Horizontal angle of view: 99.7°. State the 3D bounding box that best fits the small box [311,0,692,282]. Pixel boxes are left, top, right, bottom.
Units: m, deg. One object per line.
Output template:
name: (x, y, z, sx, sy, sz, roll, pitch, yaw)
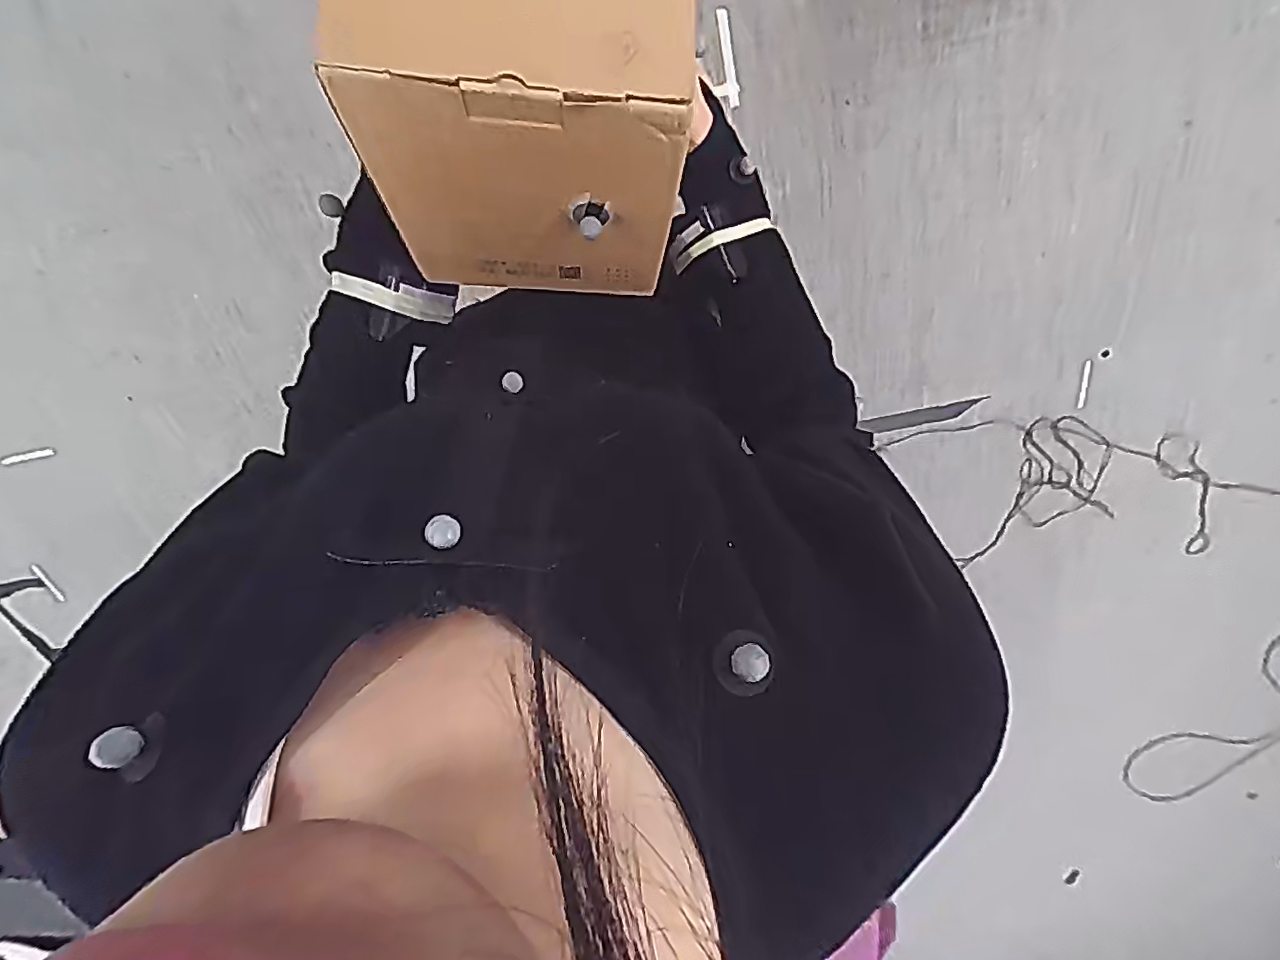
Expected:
small box: (-0.063, -0.241, 0.325, 0.168, 0.176, 0.179, 1, 79, -6)
